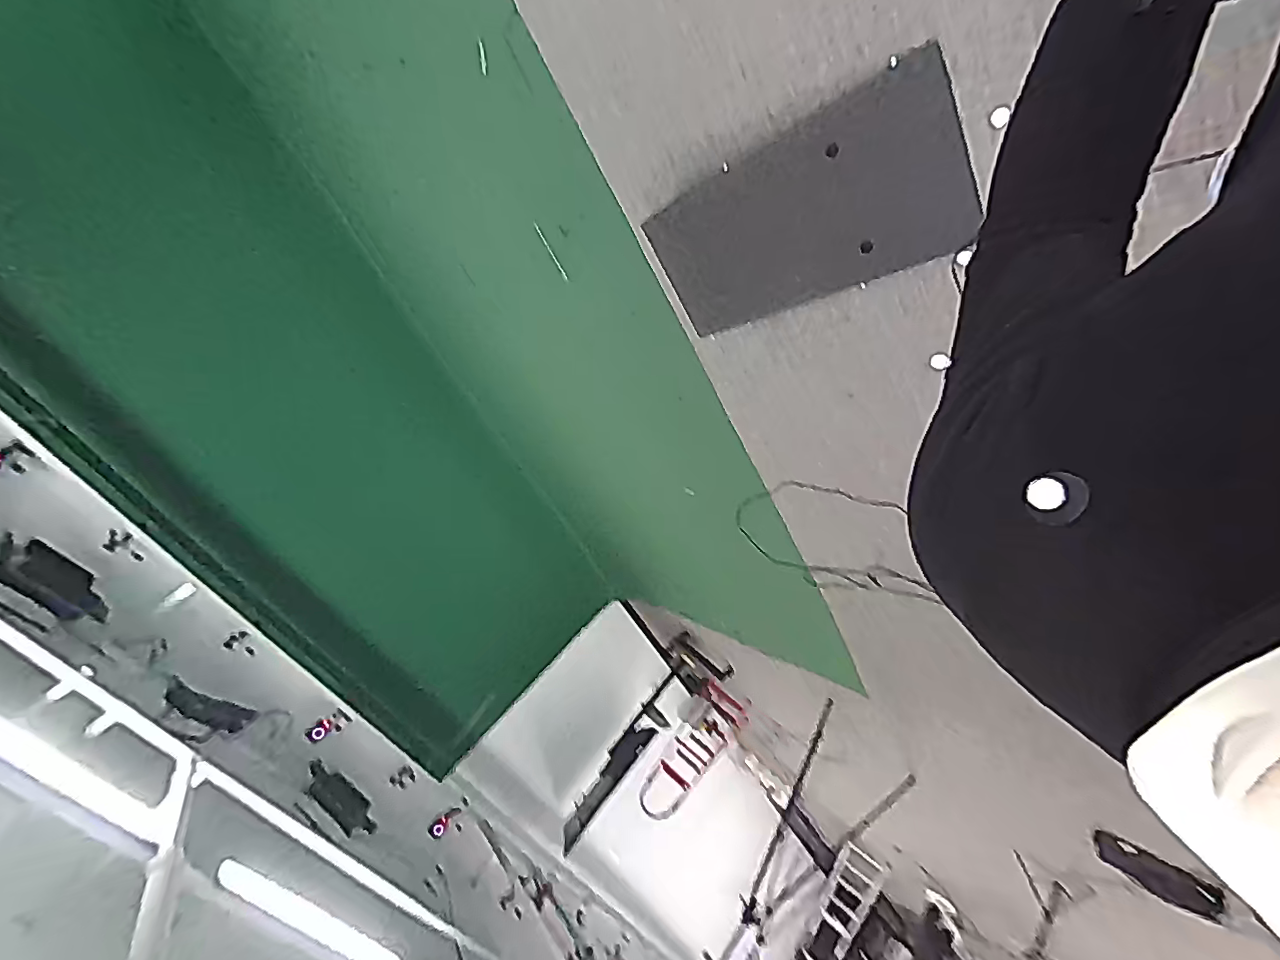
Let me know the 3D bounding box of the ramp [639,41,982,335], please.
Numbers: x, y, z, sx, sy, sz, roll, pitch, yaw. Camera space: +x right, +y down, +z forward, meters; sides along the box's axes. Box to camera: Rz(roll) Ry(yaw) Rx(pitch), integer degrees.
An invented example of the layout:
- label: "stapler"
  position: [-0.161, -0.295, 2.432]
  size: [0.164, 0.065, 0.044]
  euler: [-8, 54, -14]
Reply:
- label: "ramp"
  position: [0.451, -0.801, 1.695]
  size: [0.991, 0.206, 0.509]
  euler: [3, 130, 56]
